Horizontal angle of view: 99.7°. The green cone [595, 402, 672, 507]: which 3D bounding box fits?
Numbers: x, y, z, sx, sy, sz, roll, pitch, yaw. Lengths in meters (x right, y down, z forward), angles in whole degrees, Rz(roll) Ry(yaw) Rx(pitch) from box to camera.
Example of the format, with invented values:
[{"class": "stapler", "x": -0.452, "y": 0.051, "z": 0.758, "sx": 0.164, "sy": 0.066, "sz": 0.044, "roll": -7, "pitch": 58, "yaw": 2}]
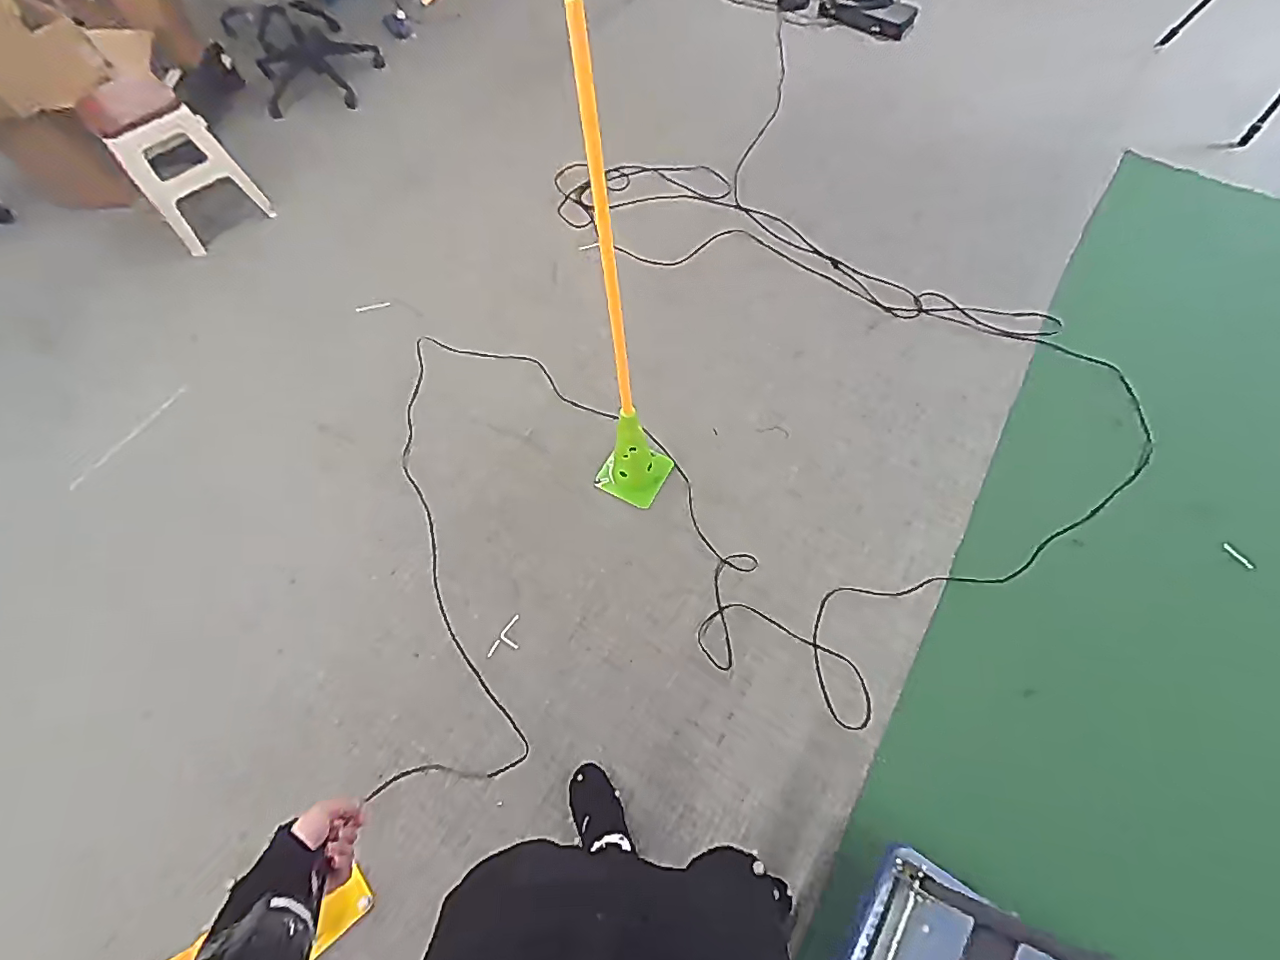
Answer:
[{"class": "green cone", "x": -0.024, "y": -0.103, "z": 1.575, "sx": 0.200, "sy": 0.368, "sz": 0.202, "roll": 25, "pitch": 66, "yaw": 14}]
